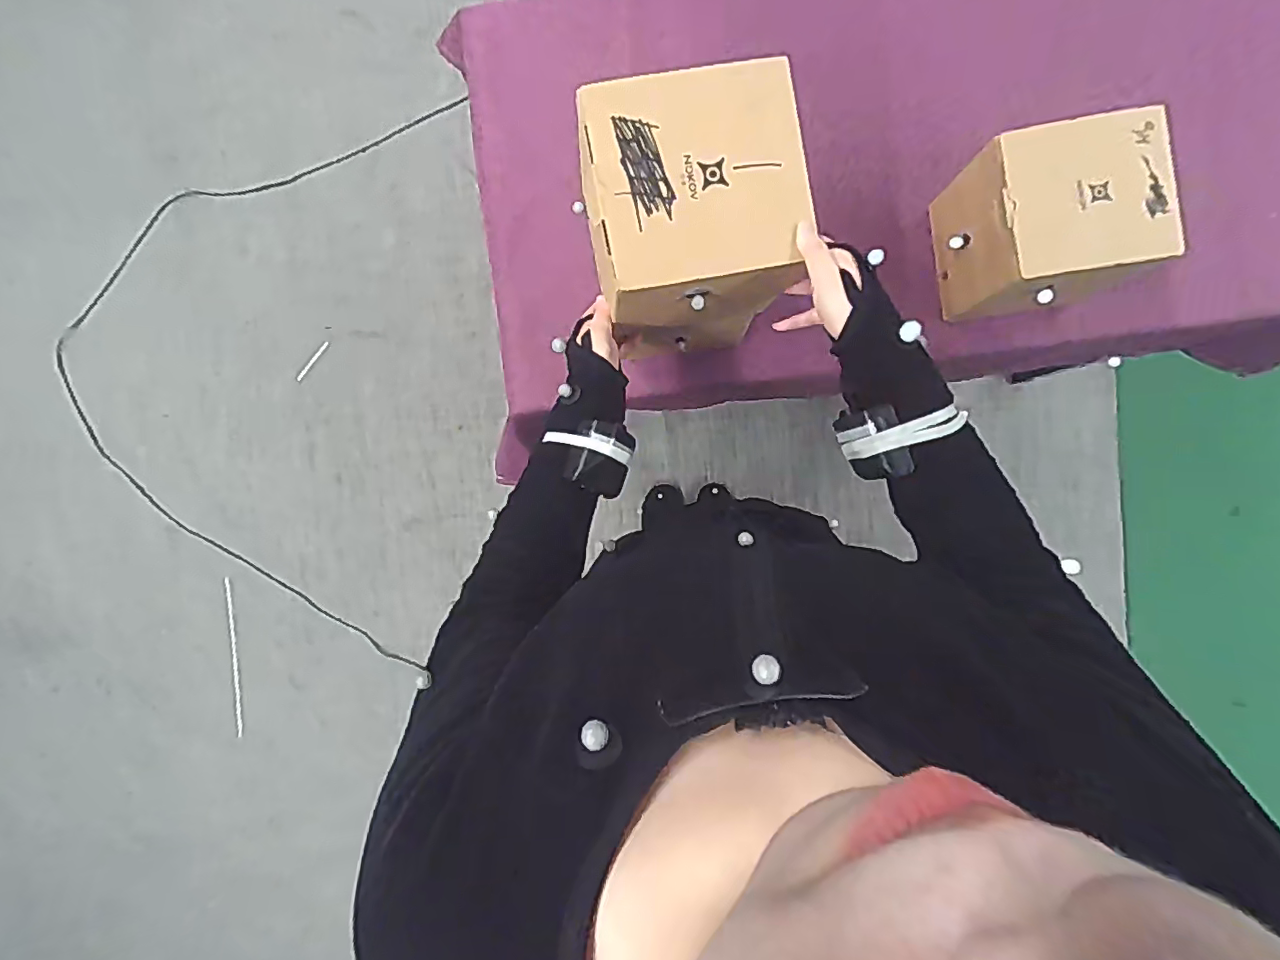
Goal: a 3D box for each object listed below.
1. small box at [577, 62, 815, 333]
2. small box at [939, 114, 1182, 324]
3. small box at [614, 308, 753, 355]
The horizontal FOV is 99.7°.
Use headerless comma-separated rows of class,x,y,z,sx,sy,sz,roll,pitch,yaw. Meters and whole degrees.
small box,0.042,-0.249,0.517,0.179,0.176,0.168,-10,93,-5
small box,0.492,-0.302,0.666,0.179,0.176,0.168,-7,90,5
small box,0.047,-0.267,0.697,0.168,0.176,0.179,-6,89,3
